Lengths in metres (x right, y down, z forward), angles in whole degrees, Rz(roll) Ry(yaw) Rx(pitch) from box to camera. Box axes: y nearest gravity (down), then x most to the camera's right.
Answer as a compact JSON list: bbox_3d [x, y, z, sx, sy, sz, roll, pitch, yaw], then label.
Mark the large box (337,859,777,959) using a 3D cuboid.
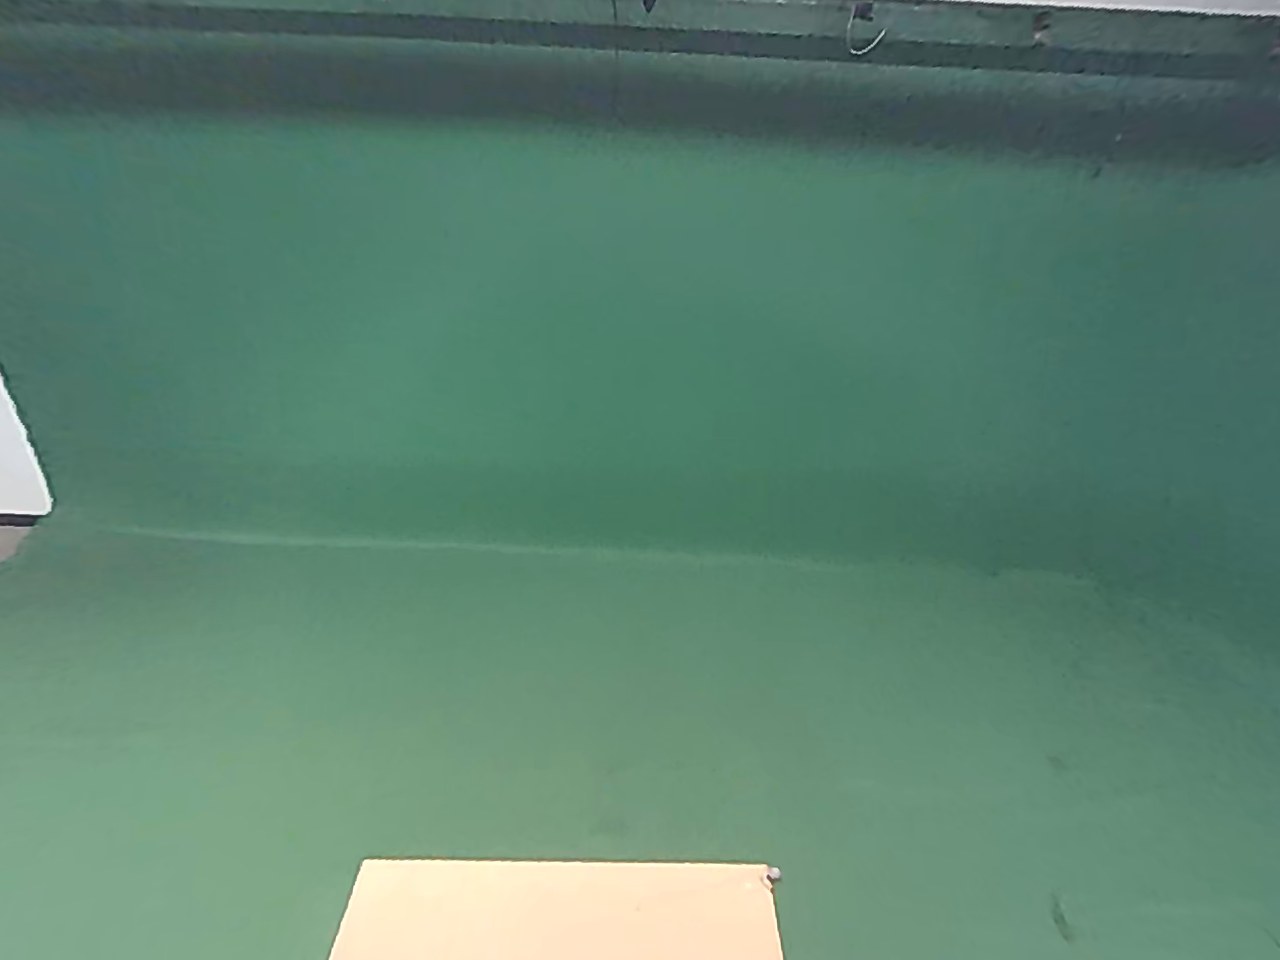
[{"bbox_3d":[-0.084,0.599,0.518,0.408,0.320,0.320,4,38,-5],"label":"large box"}]
